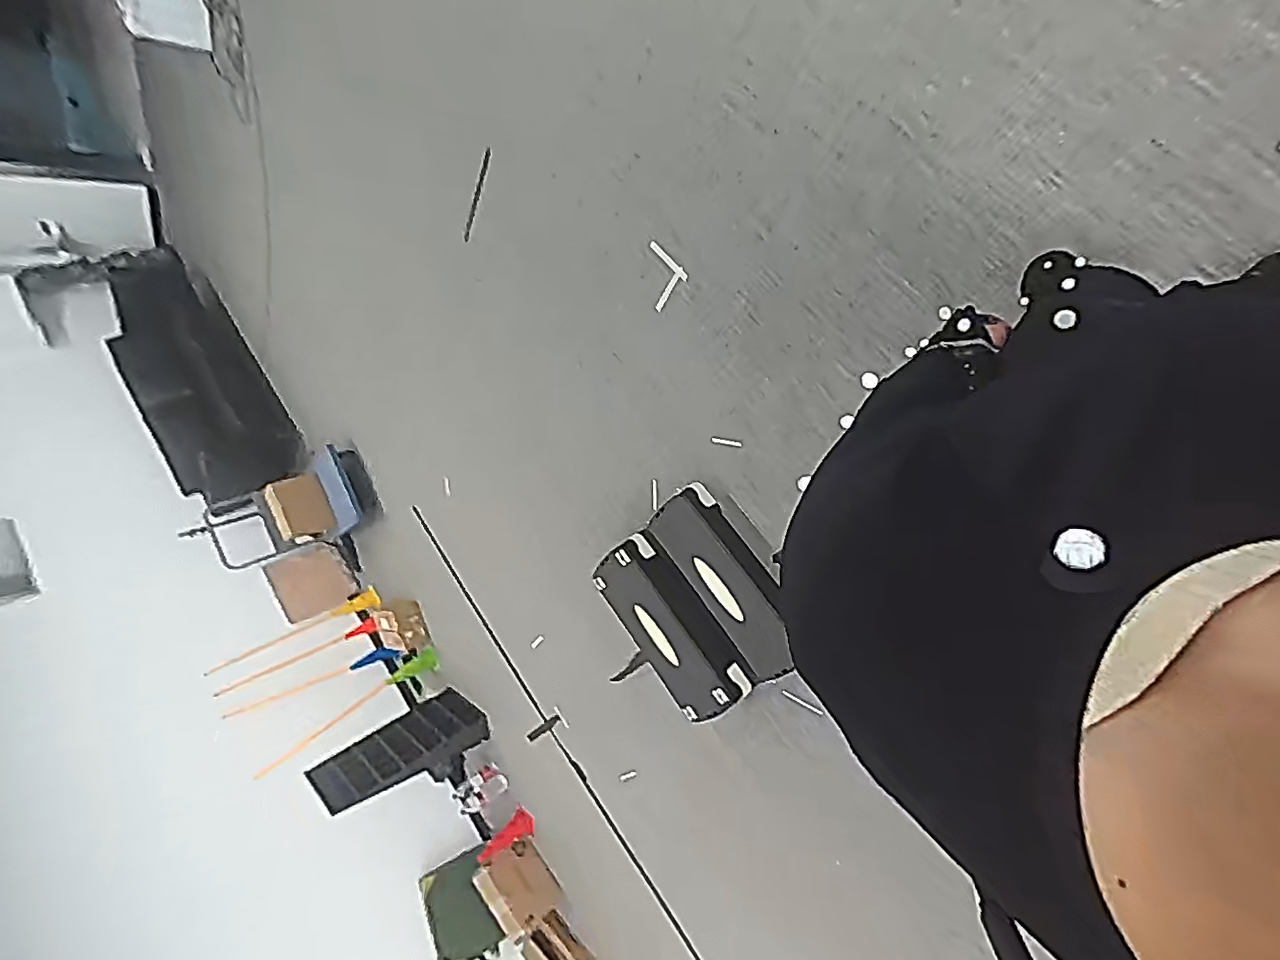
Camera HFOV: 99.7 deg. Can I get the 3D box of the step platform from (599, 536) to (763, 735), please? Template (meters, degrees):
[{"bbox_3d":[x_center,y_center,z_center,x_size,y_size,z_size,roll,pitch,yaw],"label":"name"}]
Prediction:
[{"bbox_3d":[0.131,0.557,1.945,0.286,0.204,0.684,-45,72,43],"label":"step platform"}]
